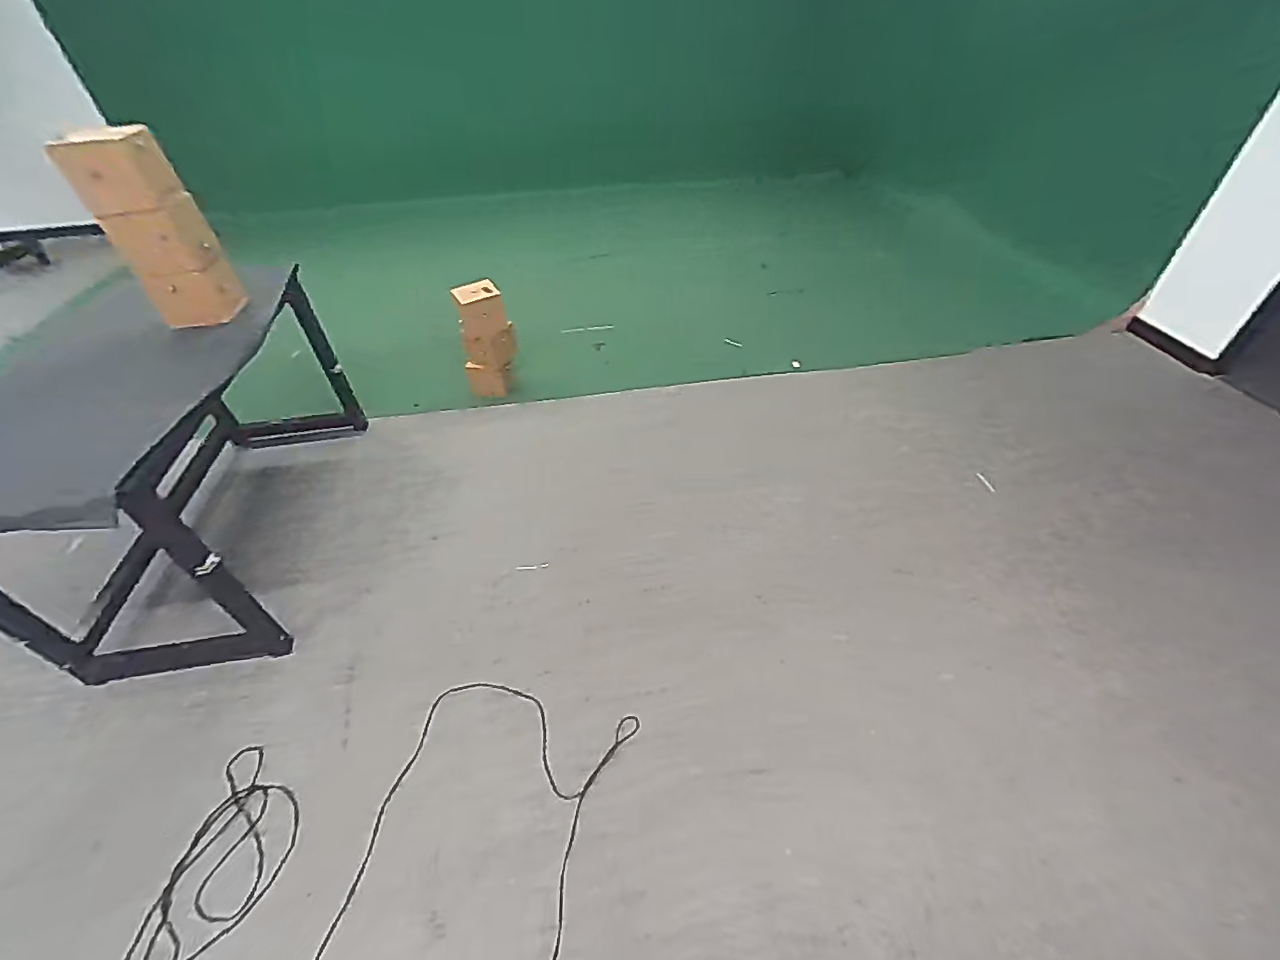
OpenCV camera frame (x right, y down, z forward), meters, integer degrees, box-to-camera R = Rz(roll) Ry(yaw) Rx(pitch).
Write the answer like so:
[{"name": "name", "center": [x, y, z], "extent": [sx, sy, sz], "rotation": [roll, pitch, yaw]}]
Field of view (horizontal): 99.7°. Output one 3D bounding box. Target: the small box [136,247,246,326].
[{"name": "small box", "center": [-1.366, -0.594, 1.664], "extent": [0.179, 0.176, 0.168], "rotation": [-8, 45, -4]}]

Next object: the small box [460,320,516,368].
[{"name": "small box", "center": [-0.697, -0.641, 2.503], "extent": [0.168, 0.176, 0.179], "rotation": [21, 48, 20]}]

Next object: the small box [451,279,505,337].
[{"name": "small box", "center": [-0.709, -0.758, 2.388], "extent": [0.179, 0.176, 0.168], "rotation": [-24, 49, -20]}]

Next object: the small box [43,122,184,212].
[{"name": "small box", "center": [-1.380, -0.827, 1.434], "extent": [0.179, 0.176, 0.168], "rotation": [-11, 45, -6]}]

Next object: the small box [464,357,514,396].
[{"name": "small box", "center": [-0.725, -0.524, 2.617], "extent": [0.168, 0.176, 0.179], "rotation": [5, 44, 6]}]
